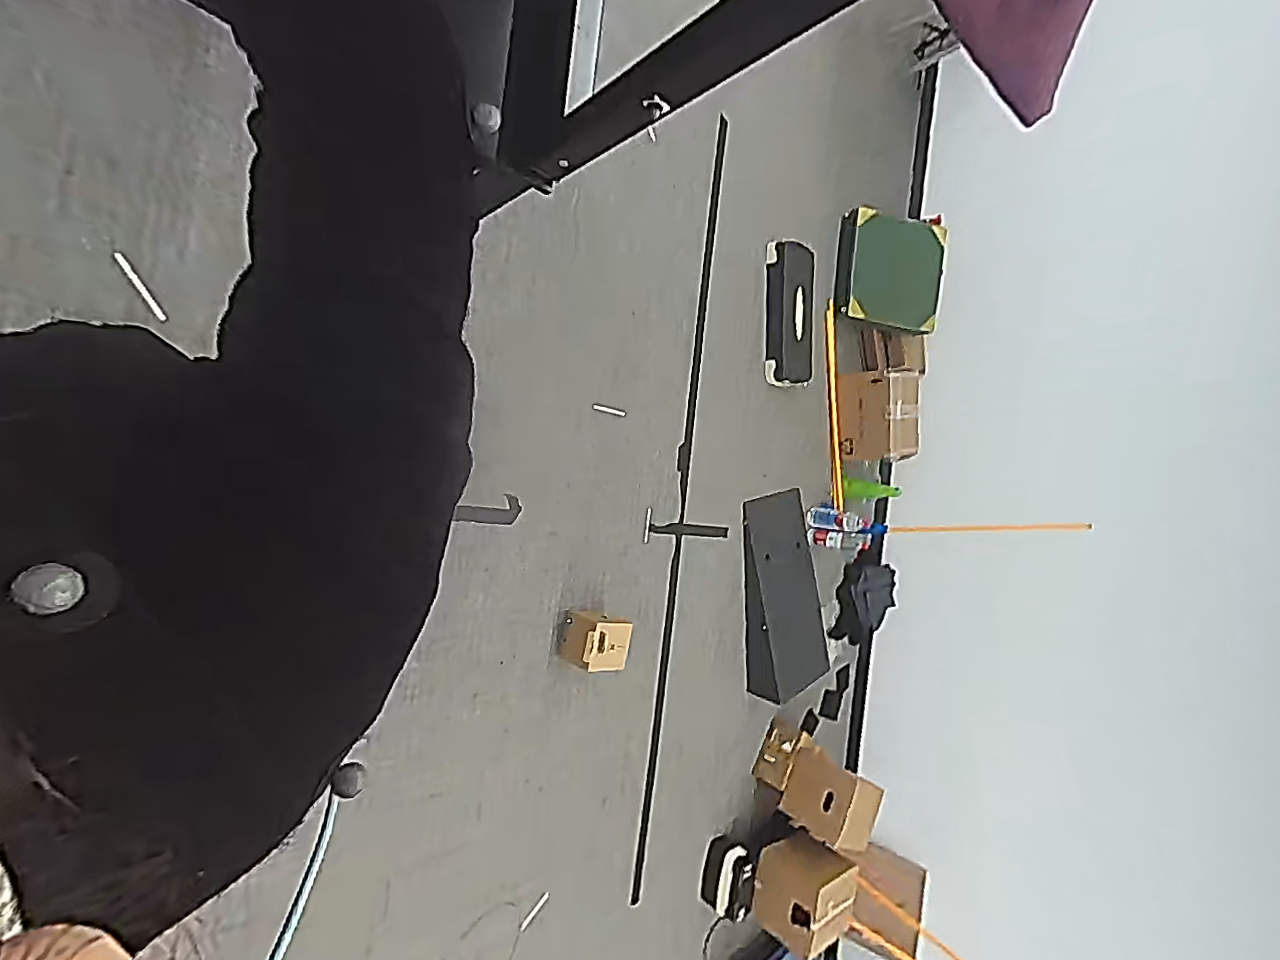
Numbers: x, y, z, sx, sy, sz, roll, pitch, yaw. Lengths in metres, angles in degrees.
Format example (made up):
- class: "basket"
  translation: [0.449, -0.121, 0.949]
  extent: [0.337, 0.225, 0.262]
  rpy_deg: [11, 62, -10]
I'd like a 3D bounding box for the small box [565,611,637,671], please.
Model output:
- class: "small box"
  translation: [-0.141, 0.564, 1.907]
  extent: [0.179, 0.176, 0.168]
  rpy_deg: [16, 83, -44]
